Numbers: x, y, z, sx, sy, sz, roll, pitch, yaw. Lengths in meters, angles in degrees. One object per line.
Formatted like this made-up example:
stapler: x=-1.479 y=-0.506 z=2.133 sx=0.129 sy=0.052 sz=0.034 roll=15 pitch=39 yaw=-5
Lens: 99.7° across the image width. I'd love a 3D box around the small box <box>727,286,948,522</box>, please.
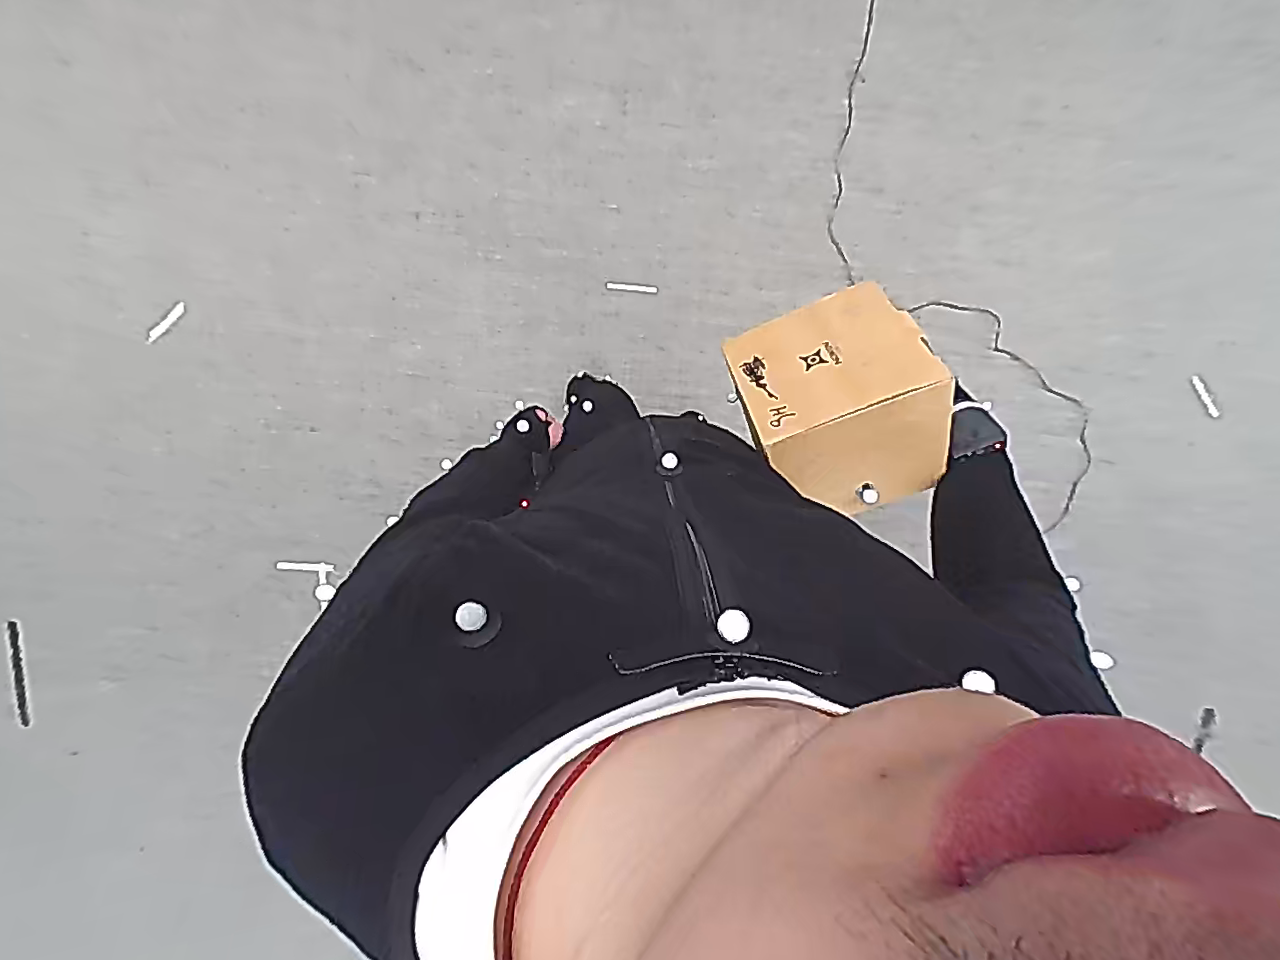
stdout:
small box: x=0.218 y=-0.080 z=0.618 sx=0.179 sy=0.168 sz=0.176 roll=-20 pitch=138 yaw=10
